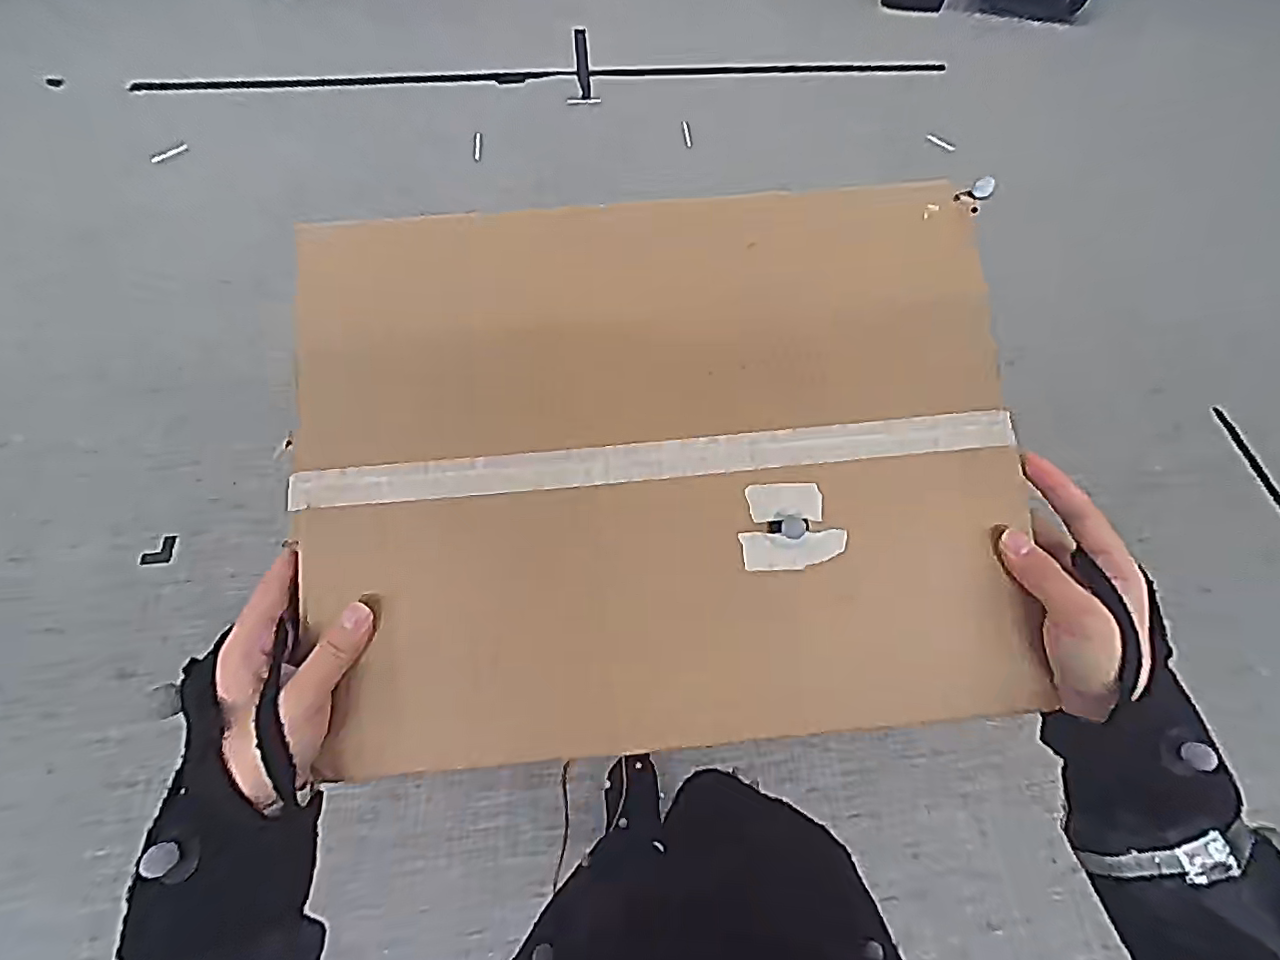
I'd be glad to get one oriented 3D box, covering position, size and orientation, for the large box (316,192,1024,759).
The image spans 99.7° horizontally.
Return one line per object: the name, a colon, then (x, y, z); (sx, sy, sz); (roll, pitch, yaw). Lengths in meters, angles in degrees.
large box: (0.006, 0.003, 0.470); (0.408, 0.320, 0.320); (-5, 84, -2)
